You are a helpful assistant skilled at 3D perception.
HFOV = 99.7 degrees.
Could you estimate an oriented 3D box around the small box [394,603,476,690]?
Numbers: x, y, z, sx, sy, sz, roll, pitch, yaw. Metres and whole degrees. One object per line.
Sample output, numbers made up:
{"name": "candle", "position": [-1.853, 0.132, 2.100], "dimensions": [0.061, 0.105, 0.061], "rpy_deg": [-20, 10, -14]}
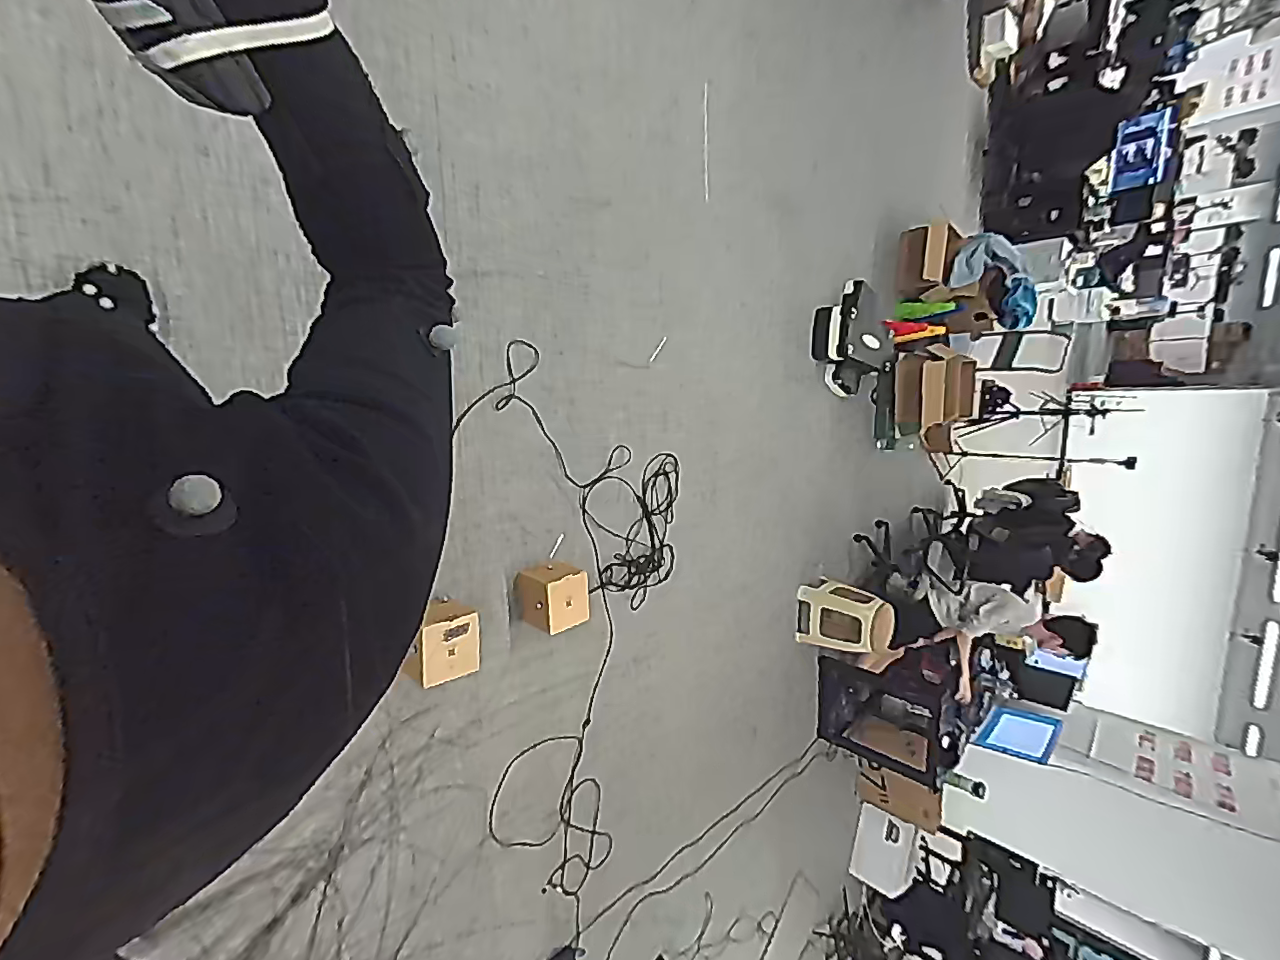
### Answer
{"name": "small box", "position": [-0.578, 0.458, 1.524], "dimensions": [0.168, 0.176, 0.179], "rpy_deg": [-5, 99, -46]}

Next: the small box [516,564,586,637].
{"name": "small box", "position": [-0.298, 0.396, 1.808], "dimensions": [0.168, 0.176, 0.179], "rpy_deg": [-12, 103, -45]}
